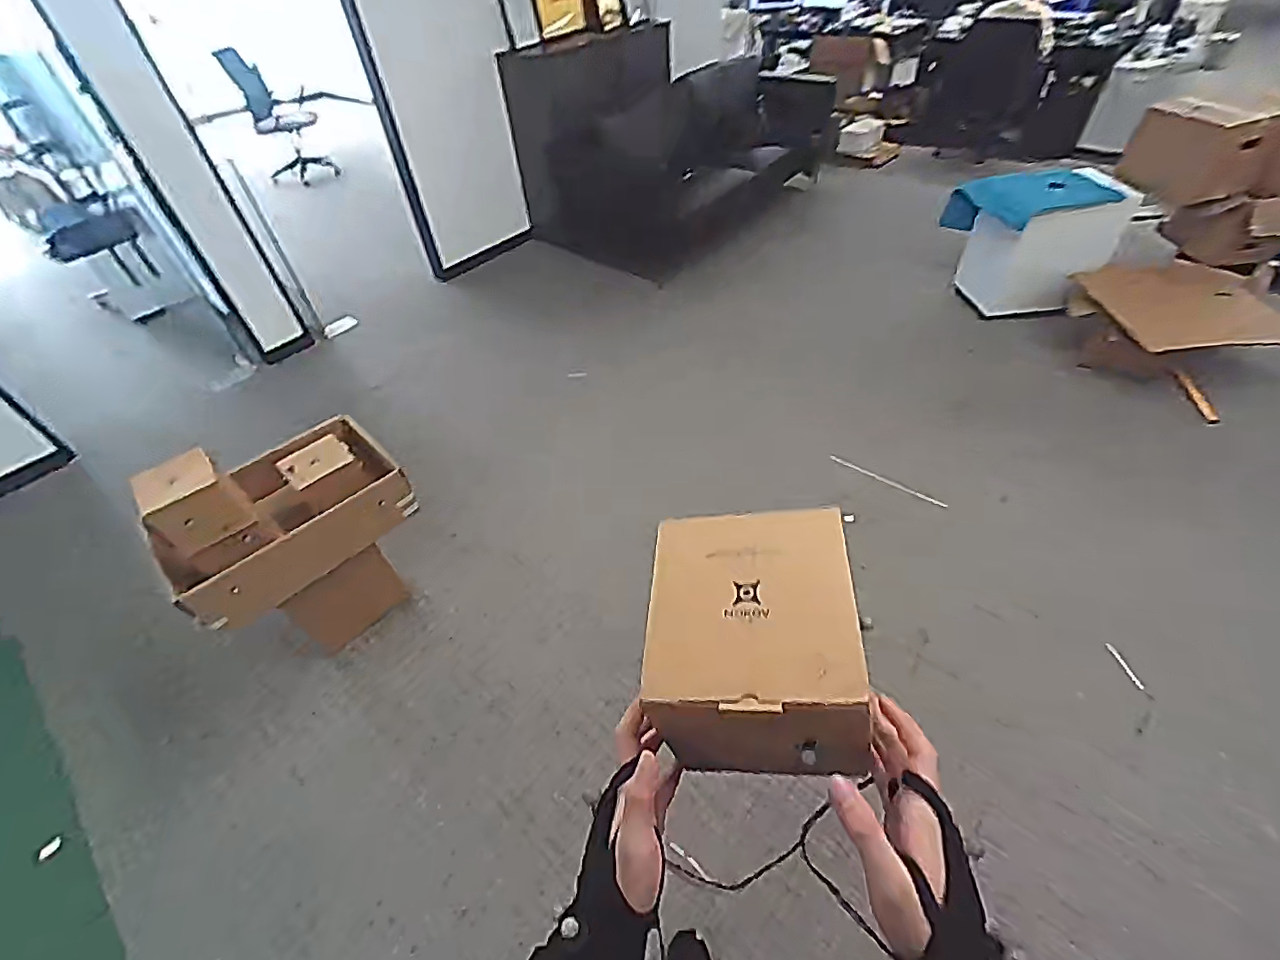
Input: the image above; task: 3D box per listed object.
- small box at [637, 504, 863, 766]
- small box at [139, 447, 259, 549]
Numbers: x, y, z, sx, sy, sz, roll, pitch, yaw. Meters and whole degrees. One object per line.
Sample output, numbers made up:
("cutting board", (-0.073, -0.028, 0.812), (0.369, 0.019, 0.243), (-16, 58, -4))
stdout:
("small box", (0.105, 0.146, 0.494), (0.168, 0.176, 0.179), (-6, 46, 15))
("small box", (-1.122, 0.052, 1.386), (0.168, 0.176, 0.179), (-34, 52, -25))
